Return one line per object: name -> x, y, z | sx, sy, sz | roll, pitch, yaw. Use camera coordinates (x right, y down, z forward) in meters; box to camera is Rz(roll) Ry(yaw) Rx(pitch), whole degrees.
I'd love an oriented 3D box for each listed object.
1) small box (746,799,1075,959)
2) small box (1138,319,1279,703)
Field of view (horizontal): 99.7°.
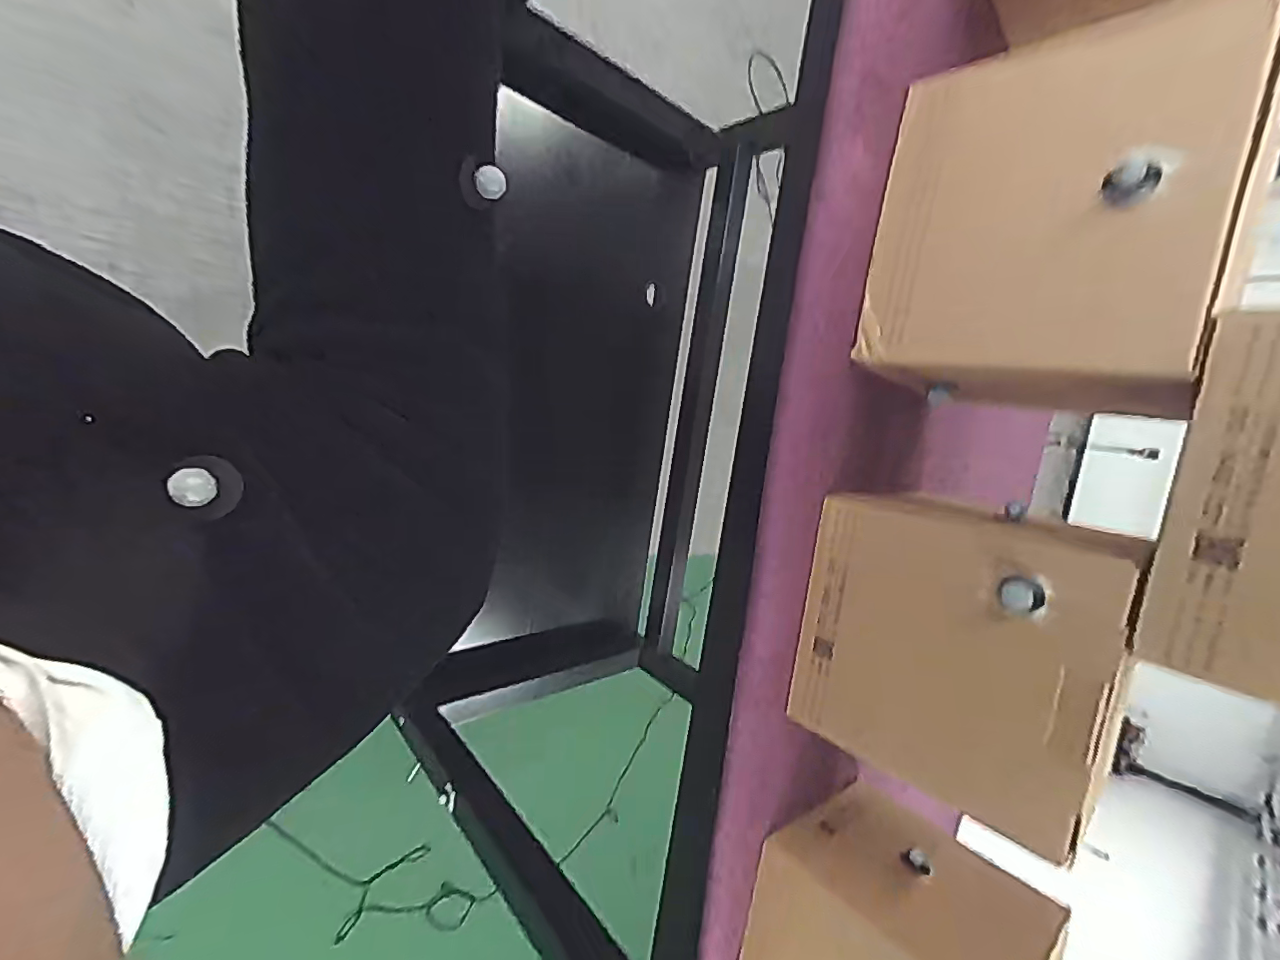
small box -> 0.193, 0.378, 0.409 | 0.168, 0.176, 0.179 | 7, 95, -42
small box -> 0.357, 0.020, 0.243 | 0.179, 0.176, 0.168 | -2, 102, -42
